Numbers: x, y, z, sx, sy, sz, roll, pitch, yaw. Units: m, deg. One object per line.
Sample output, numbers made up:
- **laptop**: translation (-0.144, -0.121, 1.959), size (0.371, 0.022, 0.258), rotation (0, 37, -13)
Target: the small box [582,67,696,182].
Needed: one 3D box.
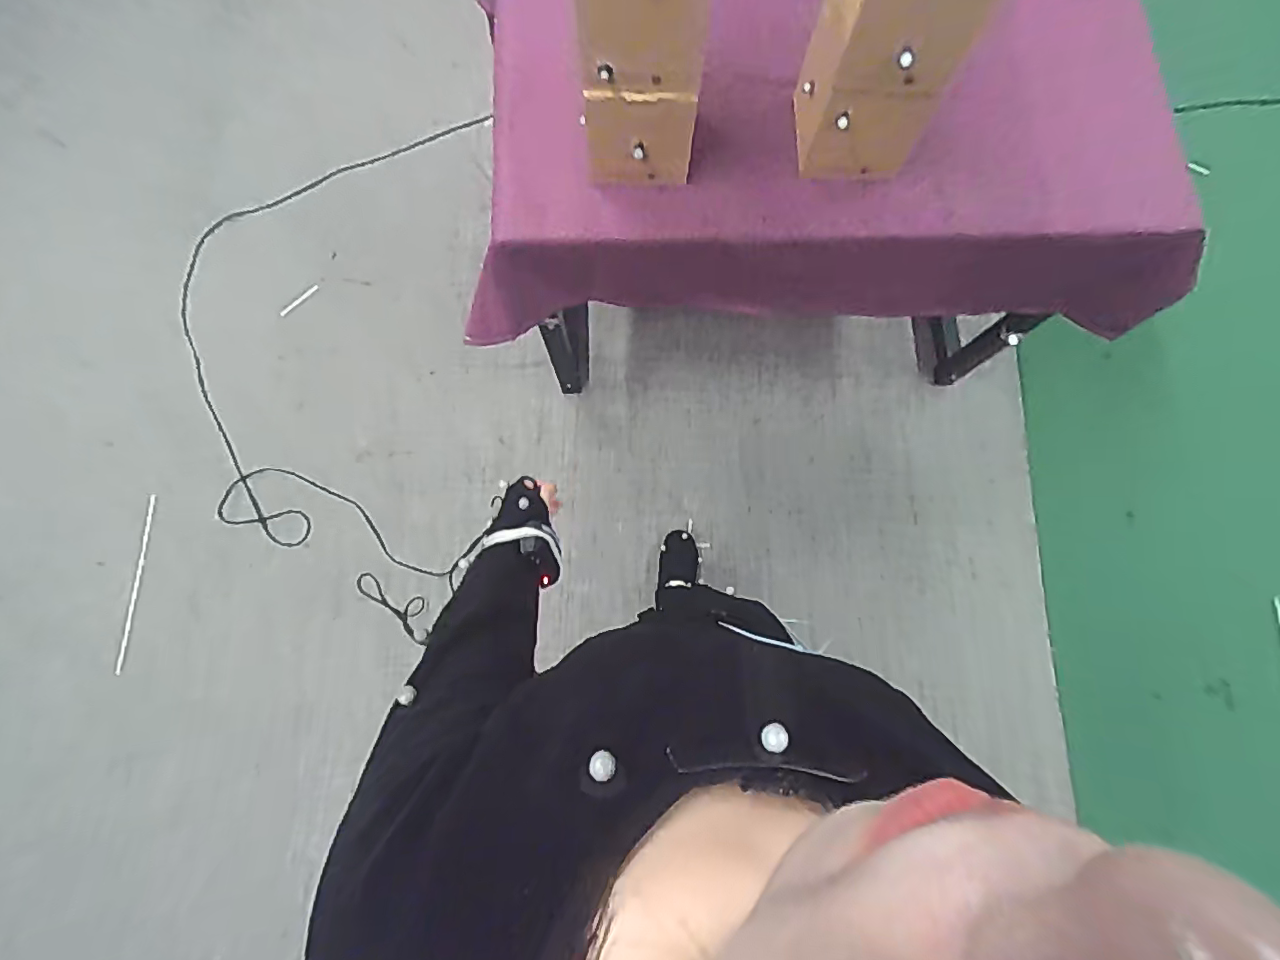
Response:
- **small box**: translation (0.000, -0.606, 0.857), size (0.168, 0.176, 0.179), rotation (2, 79, -2)

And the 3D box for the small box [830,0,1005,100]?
- **small box**: translation (0.357, -0.647, 0.706), size (0.168, 0.176, 0.179), rotation (4, 78, 0)

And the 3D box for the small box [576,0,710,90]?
- **small box**: translation (0.007, -0.647, 0.698), size (0.168, 0.176, 0.179), rotation (3, 77, -1)
